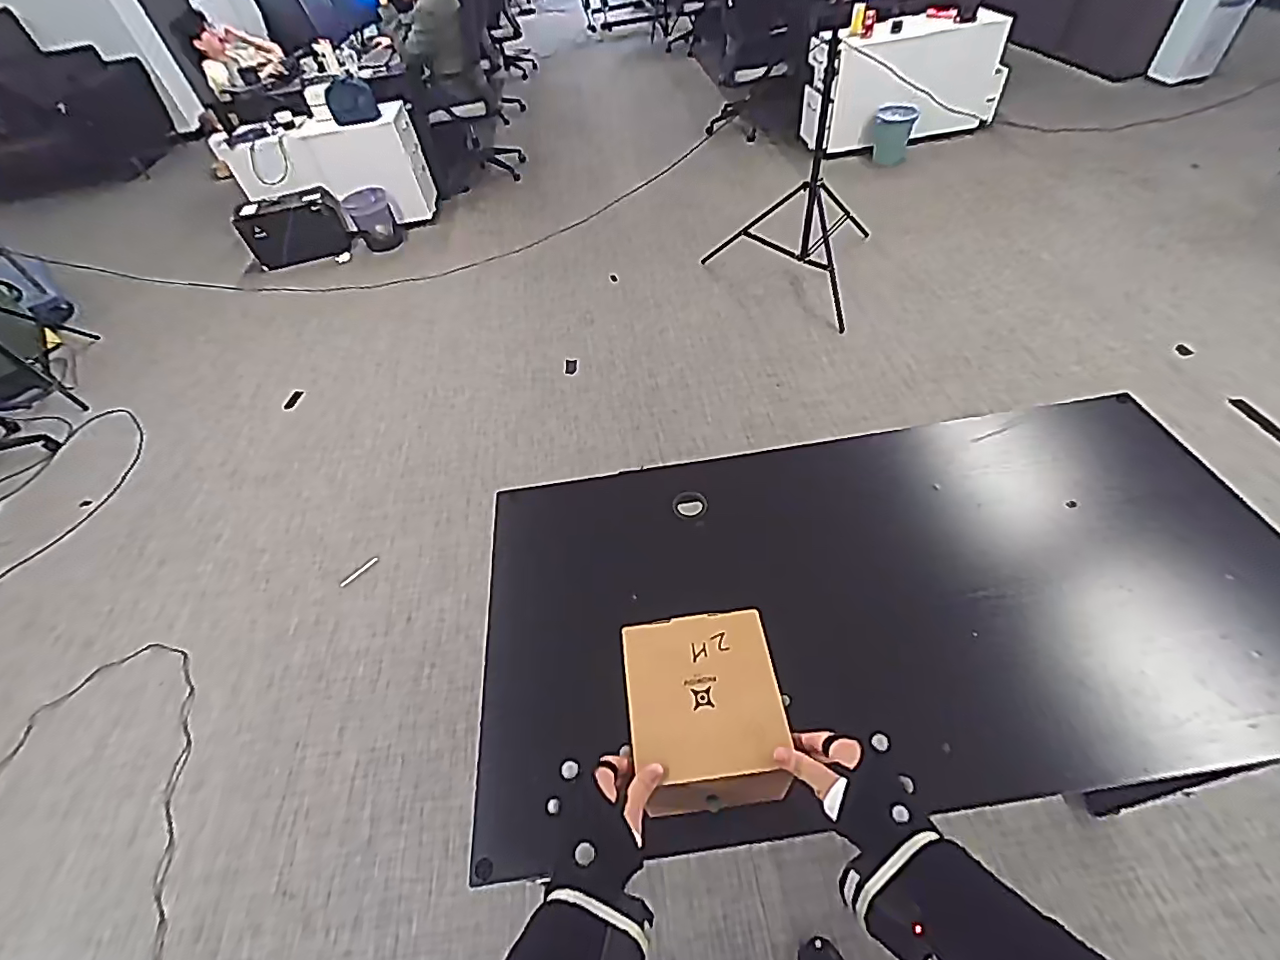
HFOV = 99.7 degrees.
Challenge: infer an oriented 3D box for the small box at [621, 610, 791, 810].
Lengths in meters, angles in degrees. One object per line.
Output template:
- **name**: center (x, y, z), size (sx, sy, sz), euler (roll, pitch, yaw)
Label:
- **small box**: center (0.074, 0.283, 0.654), size (0.168, 0.176, 0.179), euler (-9, 49, 1)
